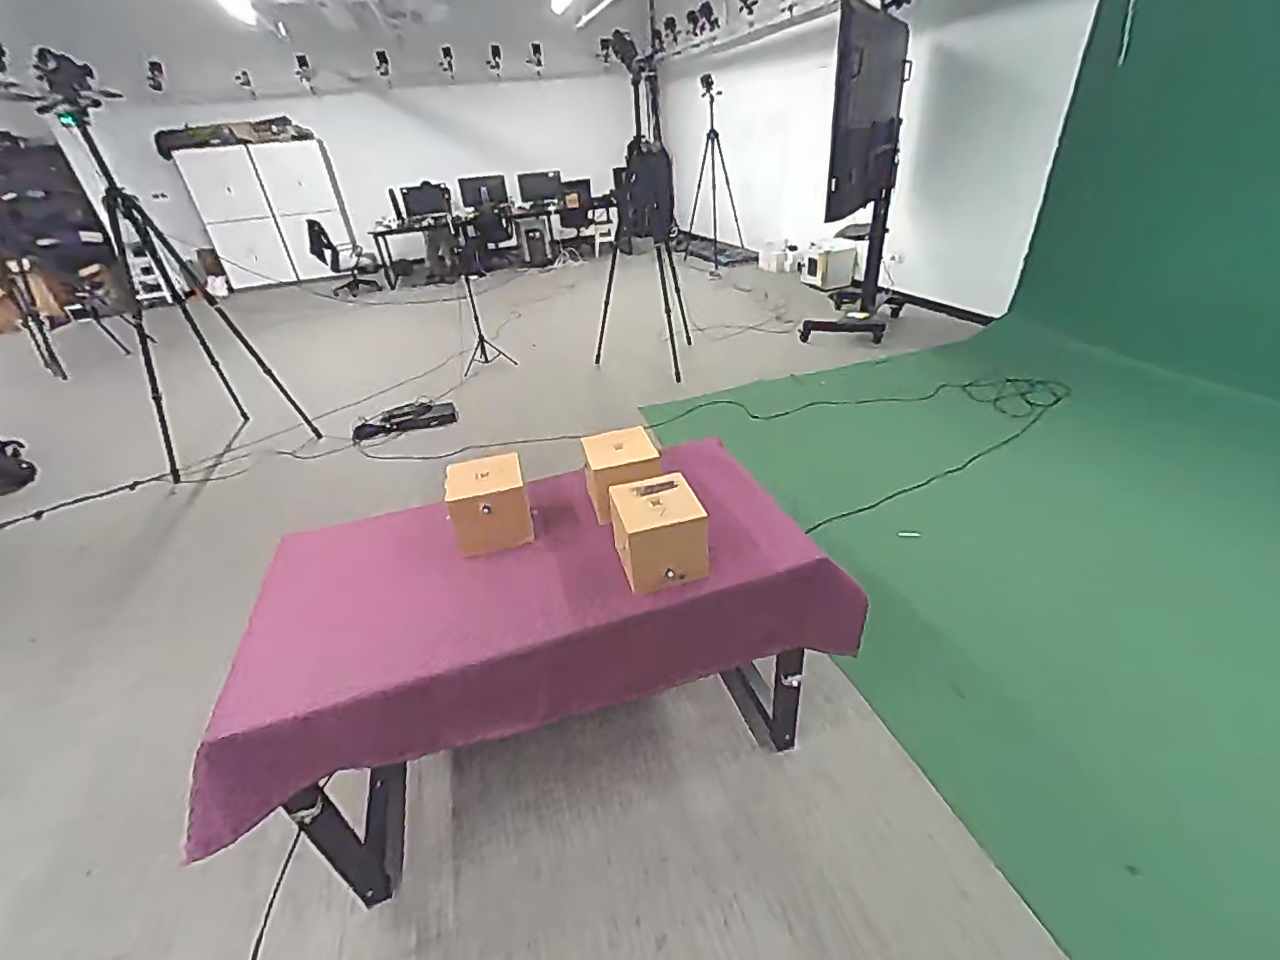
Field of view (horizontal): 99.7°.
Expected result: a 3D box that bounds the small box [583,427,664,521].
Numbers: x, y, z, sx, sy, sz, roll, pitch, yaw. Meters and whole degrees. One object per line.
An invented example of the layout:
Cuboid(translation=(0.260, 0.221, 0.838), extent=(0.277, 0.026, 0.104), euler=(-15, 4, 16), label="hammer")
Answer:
Cuboid(translation=(-0.041, -0.011, 1.375), extent=(0.168, 0.176, 0.179), euler=(-12, 32, -9), label="small box")

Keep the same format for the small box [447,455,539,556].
Cuboid(translation=(-0.354, 0.063, 1.313), extent=(0.179, 0.176, 0.168), euler=(-12, 33, -10), label="small box")
